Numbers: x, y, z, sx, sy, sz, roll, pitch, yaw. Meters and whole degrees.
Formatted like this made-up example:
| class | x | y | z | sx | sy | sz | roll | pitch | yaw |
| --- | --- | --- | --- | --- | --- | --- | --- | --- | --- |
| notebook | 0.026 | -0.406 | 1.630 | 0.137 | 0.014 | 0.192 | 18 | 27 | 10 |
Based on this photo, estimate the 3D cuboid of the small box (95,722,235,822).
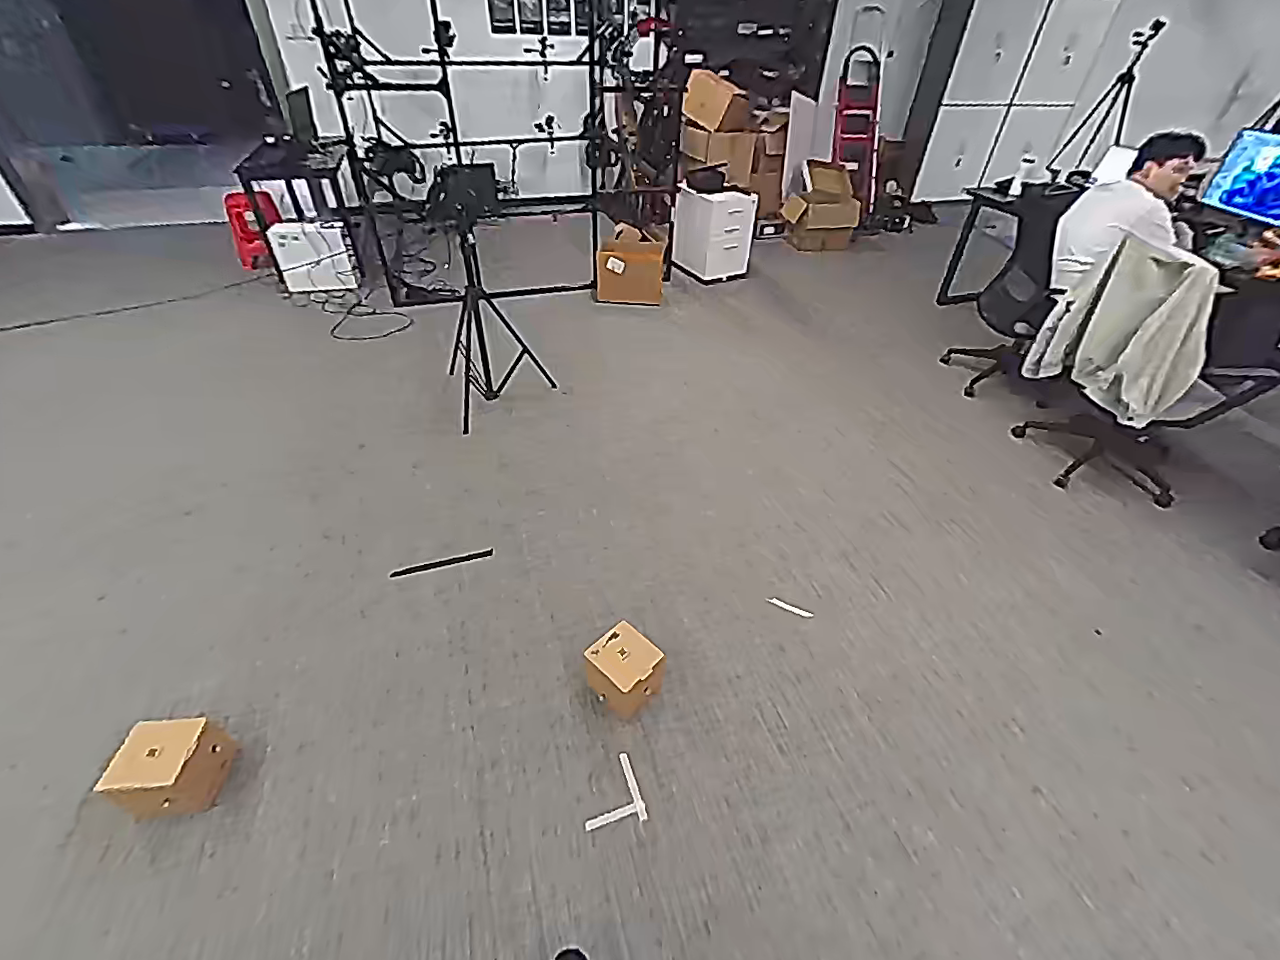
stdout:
| class | x | y | z | sx | sy | sz | roll | pitch | yaw |
| --- | --- | --- | --- | --- | --- | --- | --- | --- | --- |
| small box | -1.167 | 0.729 | 1.350 | 0.179 | 0.176 | 0.168 | -3 | 39 | -5 |

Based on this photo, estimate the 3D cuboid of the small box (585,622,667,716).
| class | x | y | z | sx | sy | sz | roll | pitch | yaw |
| --- | --- | --- | --- | --- | --- | --- | --- | --- | --- |
| small box | -0.041 | 0.561 | 1.585 | 0.179 | 0.176 | 0.168 | 33 | 49 | 31 |
